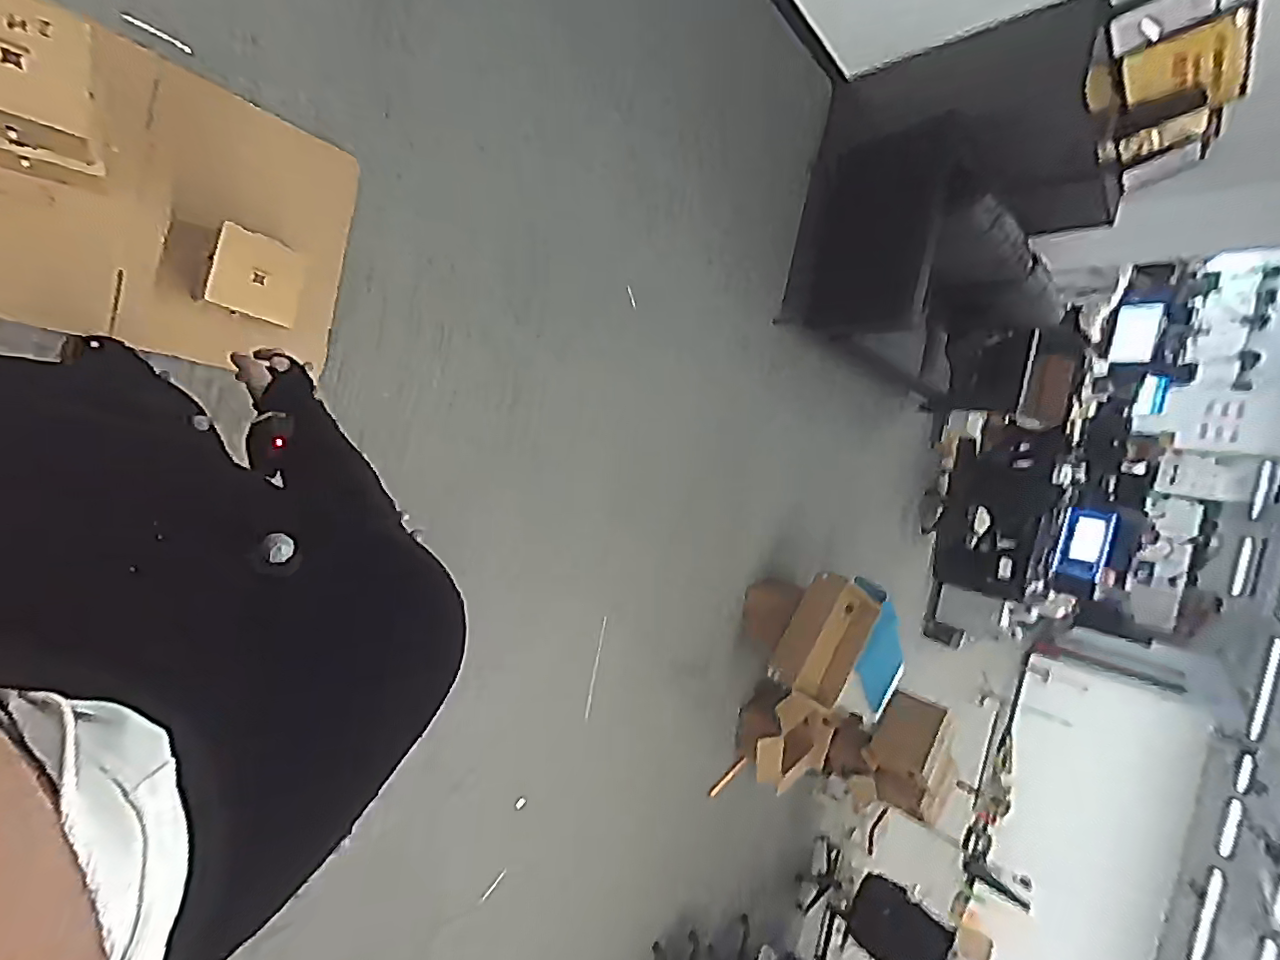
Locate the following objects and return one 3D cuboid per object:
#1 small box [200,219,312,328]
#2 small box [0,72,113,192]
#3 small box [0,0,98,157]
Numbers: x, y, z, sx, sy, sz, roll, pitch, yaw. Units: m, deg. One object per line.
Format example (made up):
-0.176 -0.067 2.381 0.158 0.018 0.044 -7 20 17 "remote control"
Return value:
-0.877 -0.456 1.230 0.168 0.176 0.179 15 88 -45 "small box"
-1.081 -0.659 0.985 0.168 0.176 0.179 2 99 -45 "small box"
-0.978 -0.647 0.854 0.168 0.176 0.179 3 97 -46 "small box"
